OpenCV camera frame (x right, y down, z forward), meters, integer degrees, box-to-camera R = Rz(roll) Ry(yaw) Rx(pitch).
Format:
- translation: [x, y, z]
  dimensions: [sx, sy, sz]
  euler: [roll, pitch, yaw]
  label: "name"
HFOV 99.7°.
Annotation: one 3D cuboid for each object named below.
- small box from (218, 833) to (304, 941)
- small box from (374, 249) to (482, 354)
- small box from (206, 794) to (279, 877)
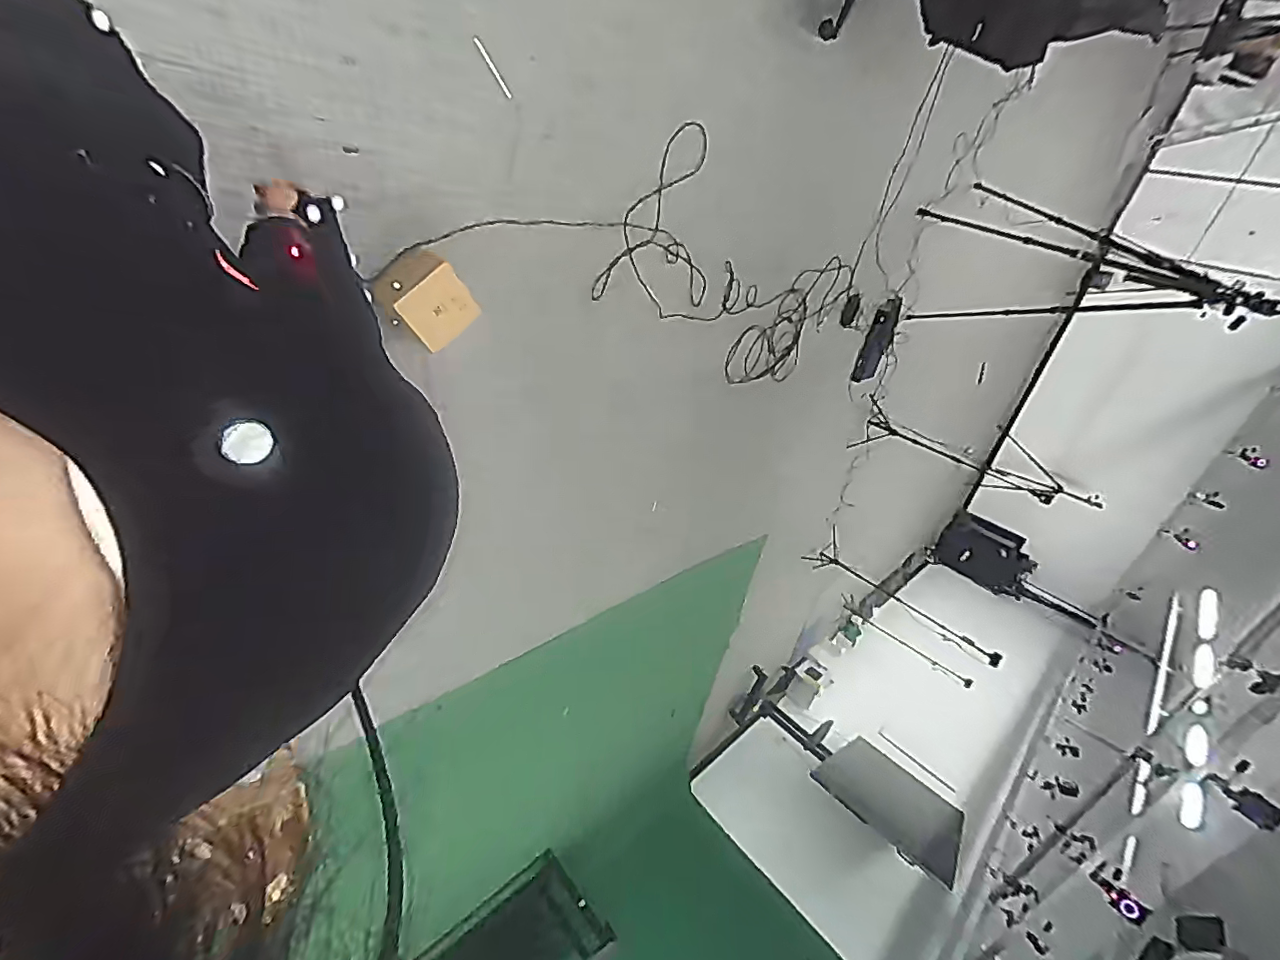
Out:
- translation: [-1.147, 1.224, 1.638]
  dimensions: [0.168, 0.176, 0.179]
  euler: [-21, 129, -37]
  label: "small box"
- translation: [-0.551, -0.462, 1.388]
  dimensions: [0.179, 0.176, 0.168]
  euler: [-47, 144, -12]
  label: "small box"
- translation: [-1.265, 1.163, 1.738]
  dimensions: [0.168, 0.176, 0.179]
  euler: [-19, 129, -39]
  label: "small box"
